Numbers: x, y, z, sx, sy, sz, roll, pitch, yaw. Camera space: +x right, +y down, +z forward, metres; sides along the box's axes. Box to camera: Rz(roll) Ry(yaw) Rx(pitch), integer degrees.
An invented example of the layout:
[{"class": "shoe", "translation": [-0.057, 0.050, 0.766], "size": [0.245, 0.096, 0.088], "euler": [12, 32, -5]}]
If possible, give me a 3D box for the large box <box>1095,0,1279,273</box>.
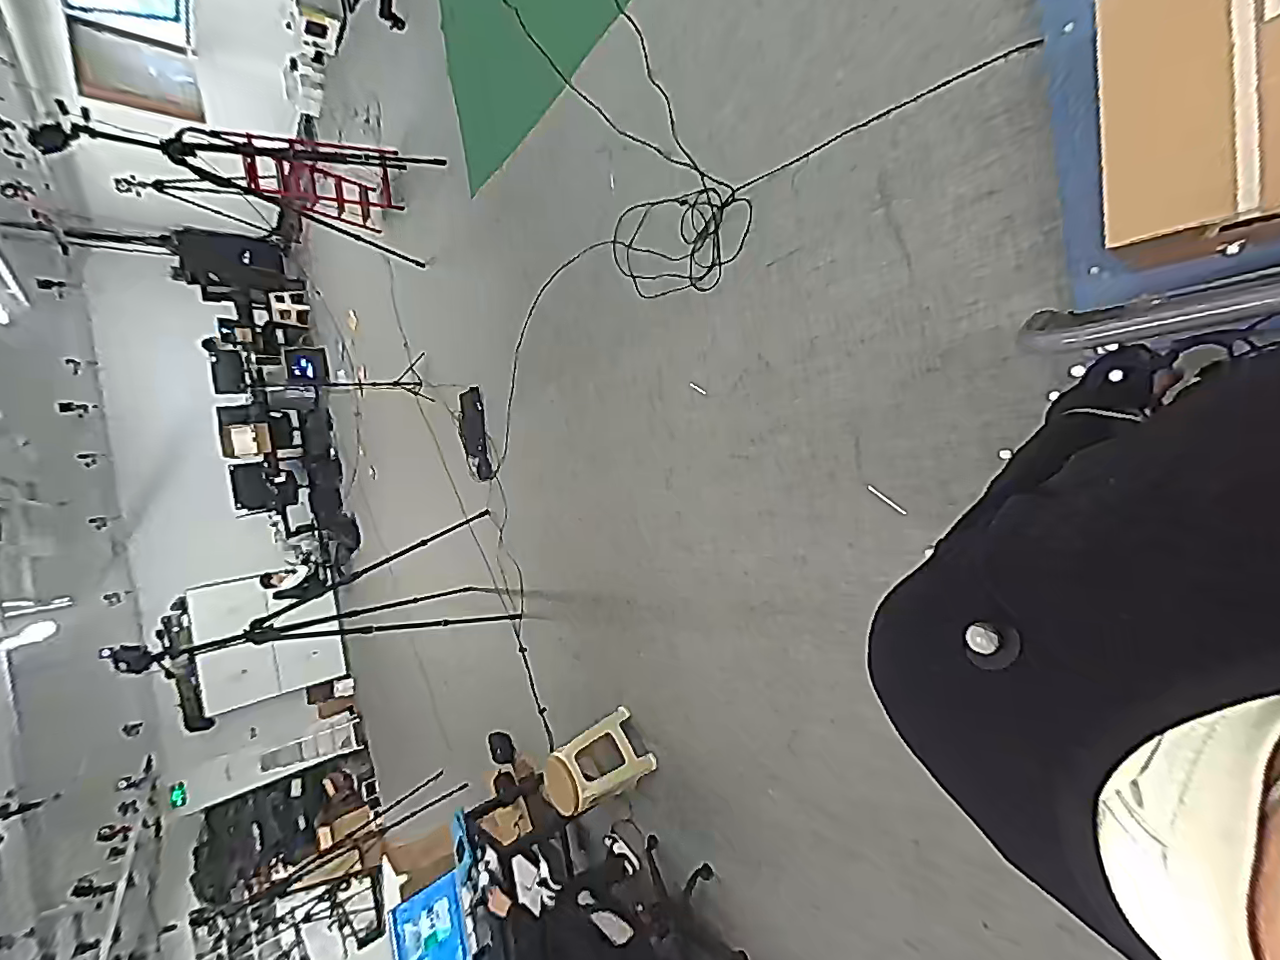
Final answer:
[{"class": "large box", "translation": [0.958, -0.591, 0.850], "size": [0.320, 0.320, 0.408], "euler": [-2, 95, 49]}]
